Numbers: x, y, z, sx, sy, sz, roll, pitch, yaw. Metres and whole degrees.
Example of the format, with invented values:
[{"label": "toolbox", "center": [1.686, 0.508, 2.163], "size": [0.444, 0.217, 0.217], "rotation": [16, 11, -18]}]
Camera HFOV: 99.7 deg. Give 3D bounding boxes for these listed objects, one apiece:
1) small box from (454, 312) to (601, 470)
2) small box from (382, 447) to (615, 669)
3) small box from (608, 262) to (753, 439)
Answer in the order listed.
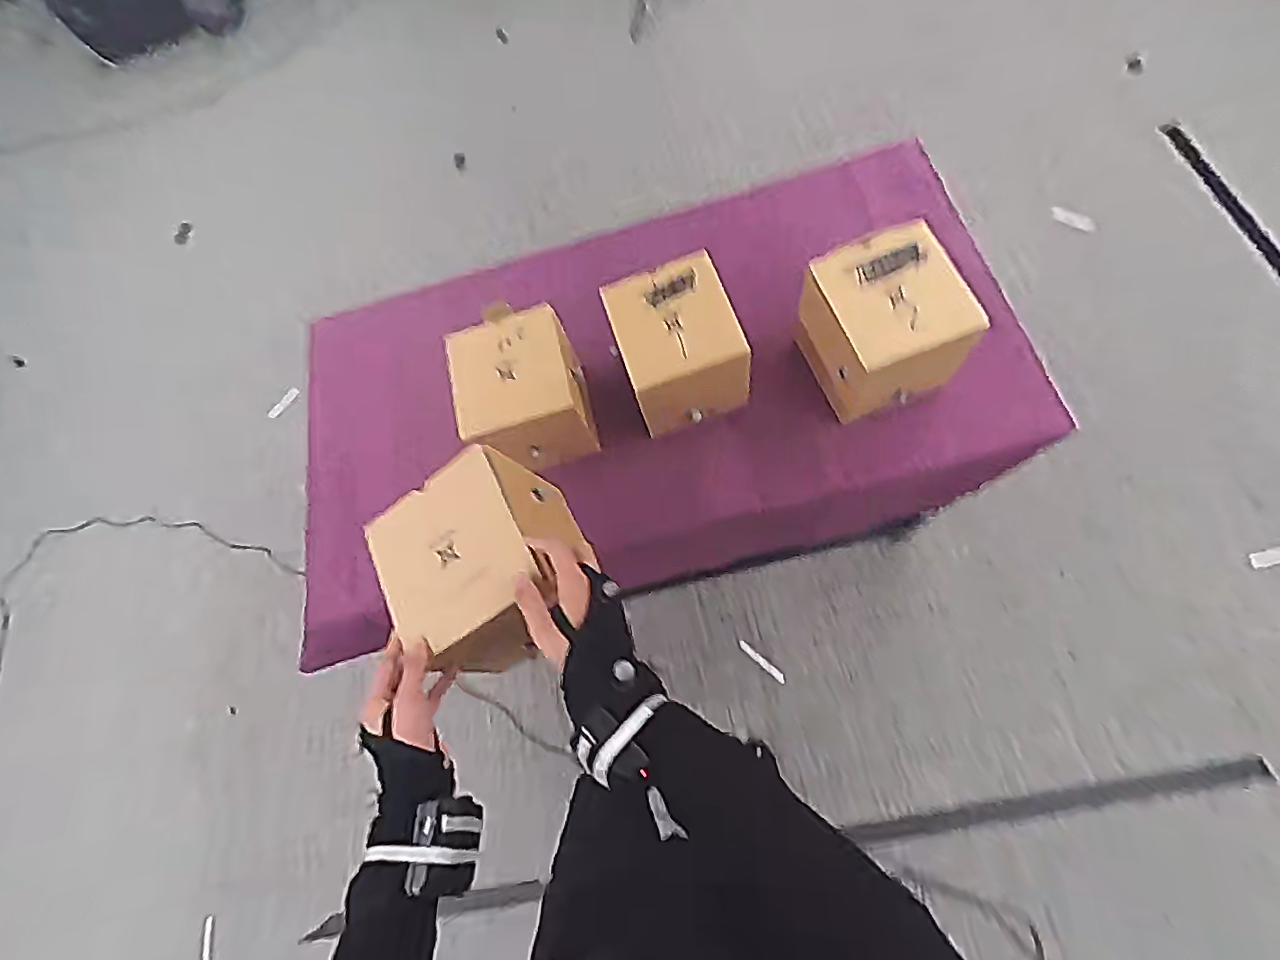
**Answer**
[{"label": "small box", "center": [-0.169, -0.125, 0.851], "size": [0.168, 0.176, 0.179], "rotation": [-16, 69, 4]}, {"label": "small box", "center": [-0.156, 0.099, 0.622], "size": [0.168, 0.176, 0.179], "rotation": [-34, 61, 8]}, {"label": "small box", "center": [0.064, -0.190, 0.833], "size": [0.168, 0.176, 0.179], "rotation": [-20, 69, 3]}]
